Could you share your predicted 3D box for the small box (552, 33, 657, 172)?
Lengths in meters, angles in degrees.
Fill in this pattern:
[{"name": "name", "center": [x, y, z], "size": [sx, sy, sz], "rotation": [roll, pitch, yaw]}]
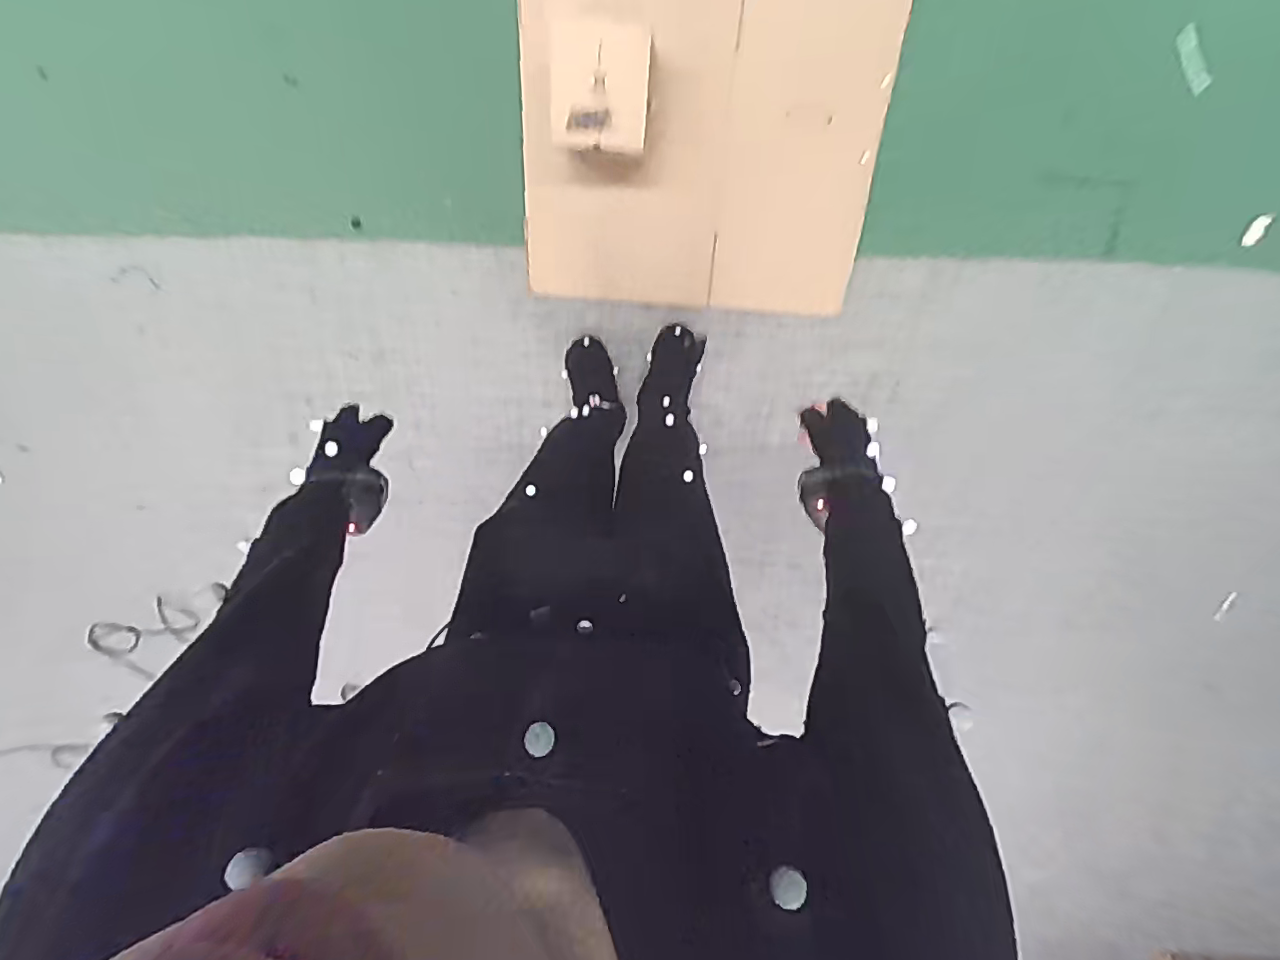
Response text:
[{"name": "small box", "center": [-0.059, -0.667, 0.976], "size": [0.168, 0.176, 0.179], "rotation": [6, 115, 1]}]
